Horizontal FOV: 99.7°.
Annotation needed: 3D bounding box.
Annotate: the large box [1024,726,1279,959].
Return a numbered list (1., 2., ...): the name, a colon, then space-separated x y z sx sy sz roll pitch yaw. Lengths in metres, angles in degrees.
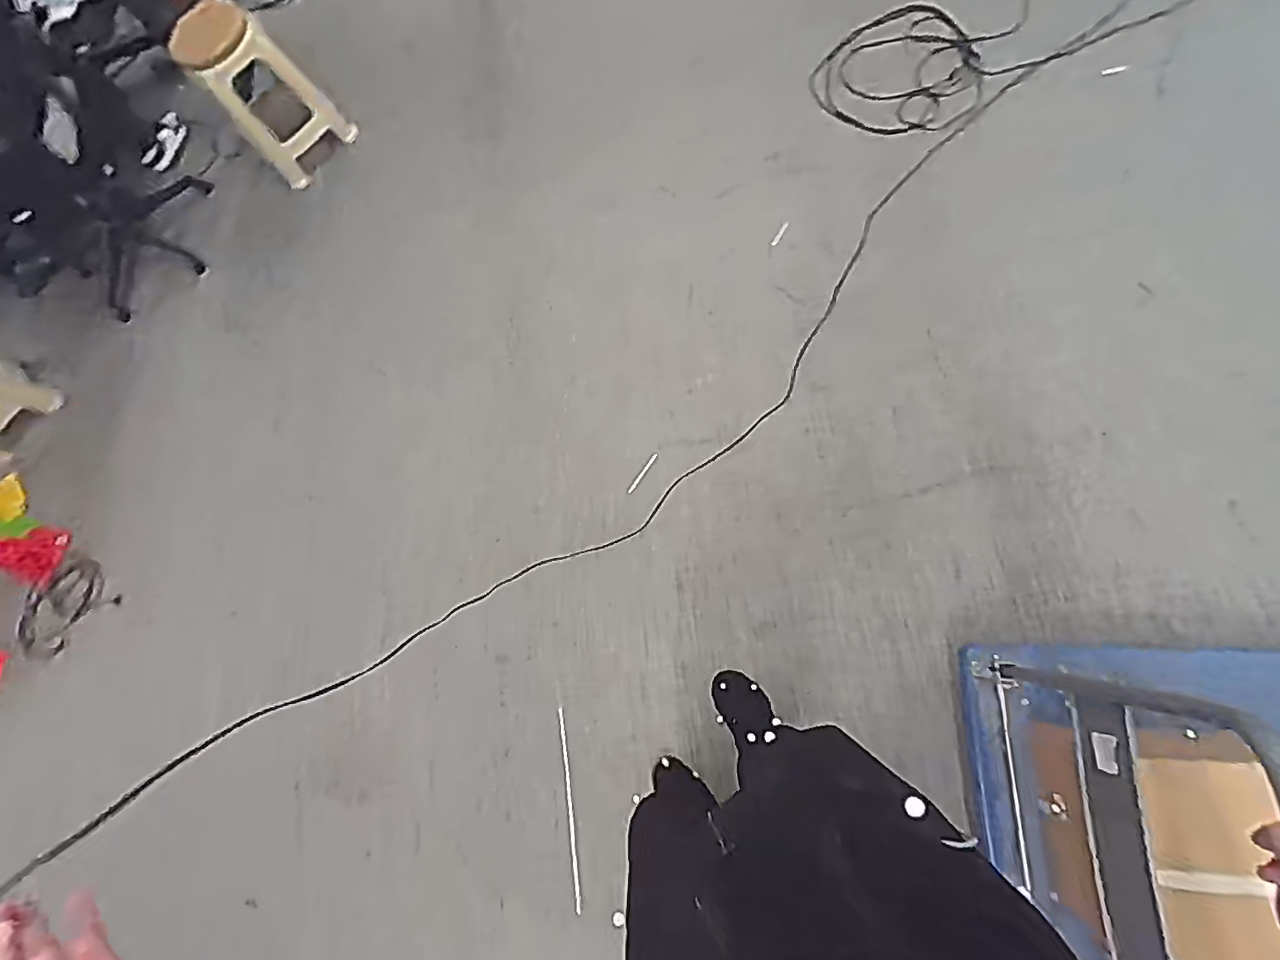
1. large box: 0.958 0.603 0.905 0.408 0.320 0.320 -3 75 11
